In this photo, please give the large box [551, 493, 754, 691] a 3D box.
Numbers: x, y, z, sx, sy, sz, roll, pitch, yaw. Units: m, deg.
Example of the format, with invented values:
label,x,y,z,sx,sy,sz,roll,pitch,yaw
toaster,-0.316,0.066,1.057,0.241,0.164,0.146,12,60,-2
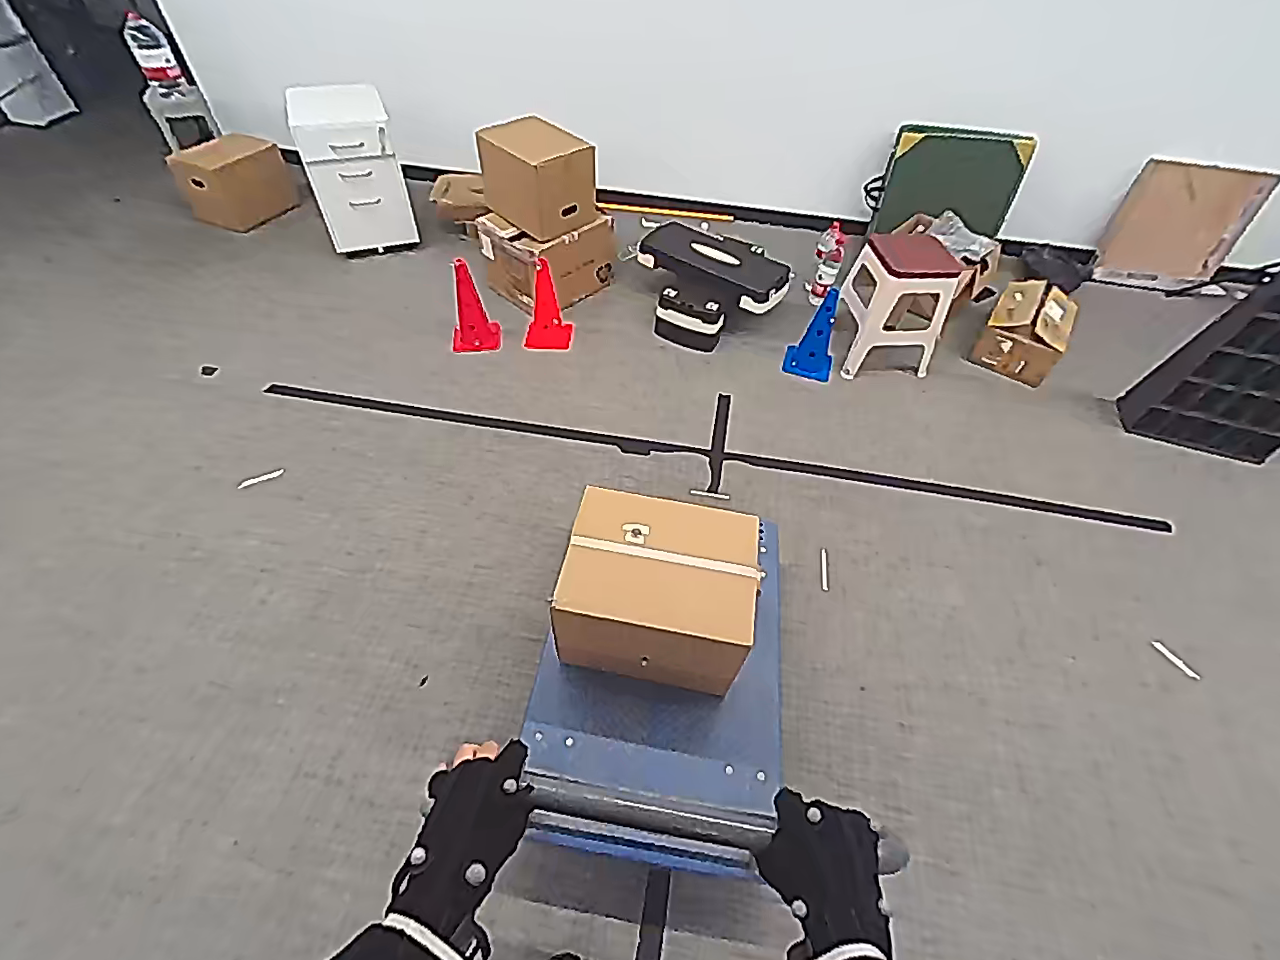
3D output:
label,x,y,z,sx,sy,sz,roll,pitch,yaw
large box,0.037,0.269,1.273,0.408,0.320,0.320,10,52,5
